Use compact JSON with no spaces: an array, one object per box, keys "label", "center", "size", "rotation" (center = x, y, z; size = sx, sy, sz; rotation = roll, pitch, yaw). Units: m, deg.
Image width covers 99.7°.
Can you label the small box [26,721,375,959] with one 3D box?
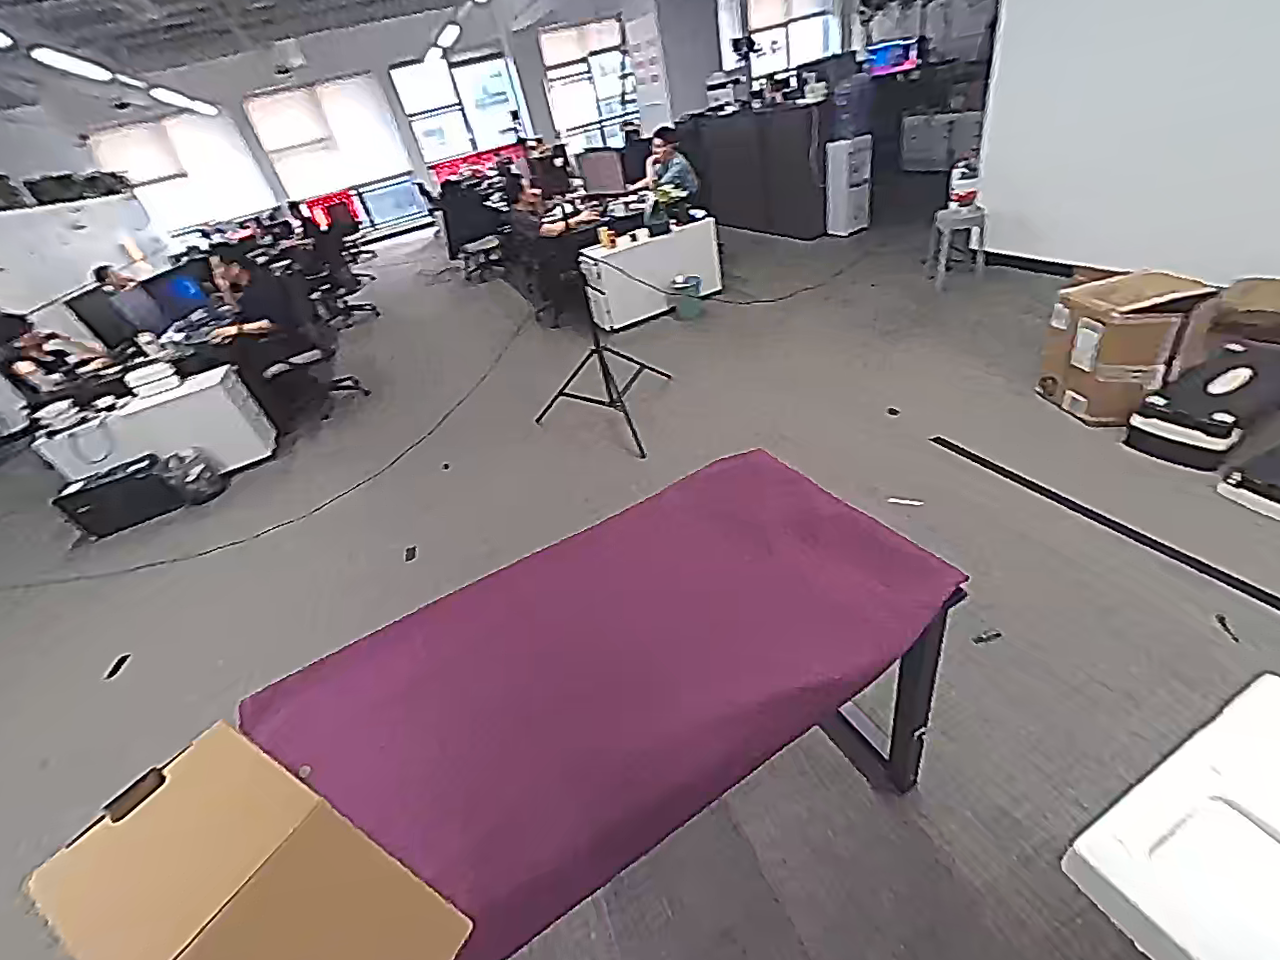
[{"label":"small box","center":[-0.390,0.375,0.510],"size":[0.179,0.176,0.168],"rotation":[16,39,27]}]
